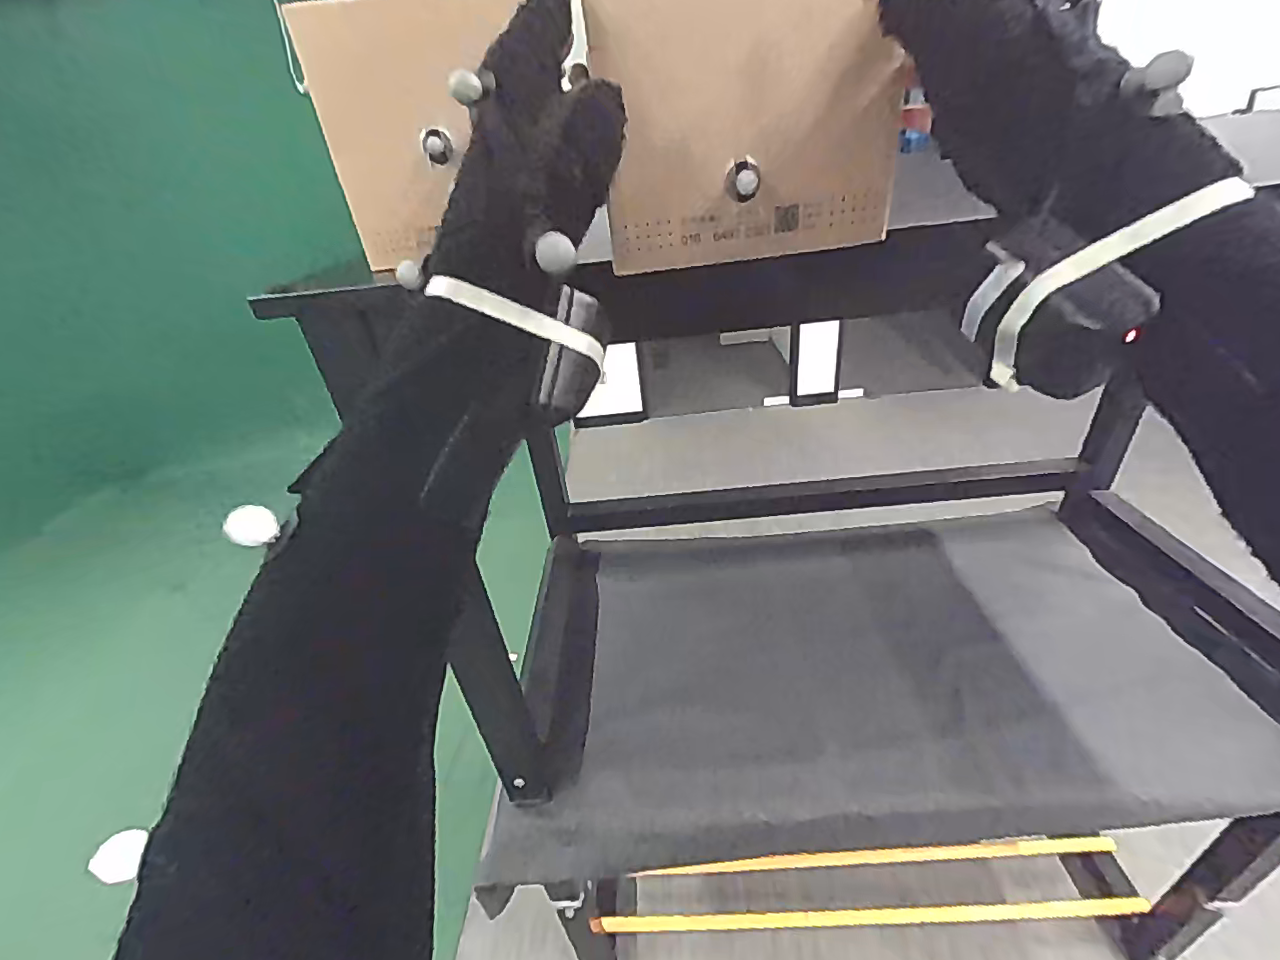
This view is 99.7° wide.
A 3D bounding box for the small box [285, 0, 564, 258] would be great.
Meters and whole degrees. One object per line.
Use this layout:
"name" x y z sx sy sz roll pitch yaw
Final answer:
"small box" -0.162 -0.302 0.482 0.168 0.176 0.179 -8 31 -3
